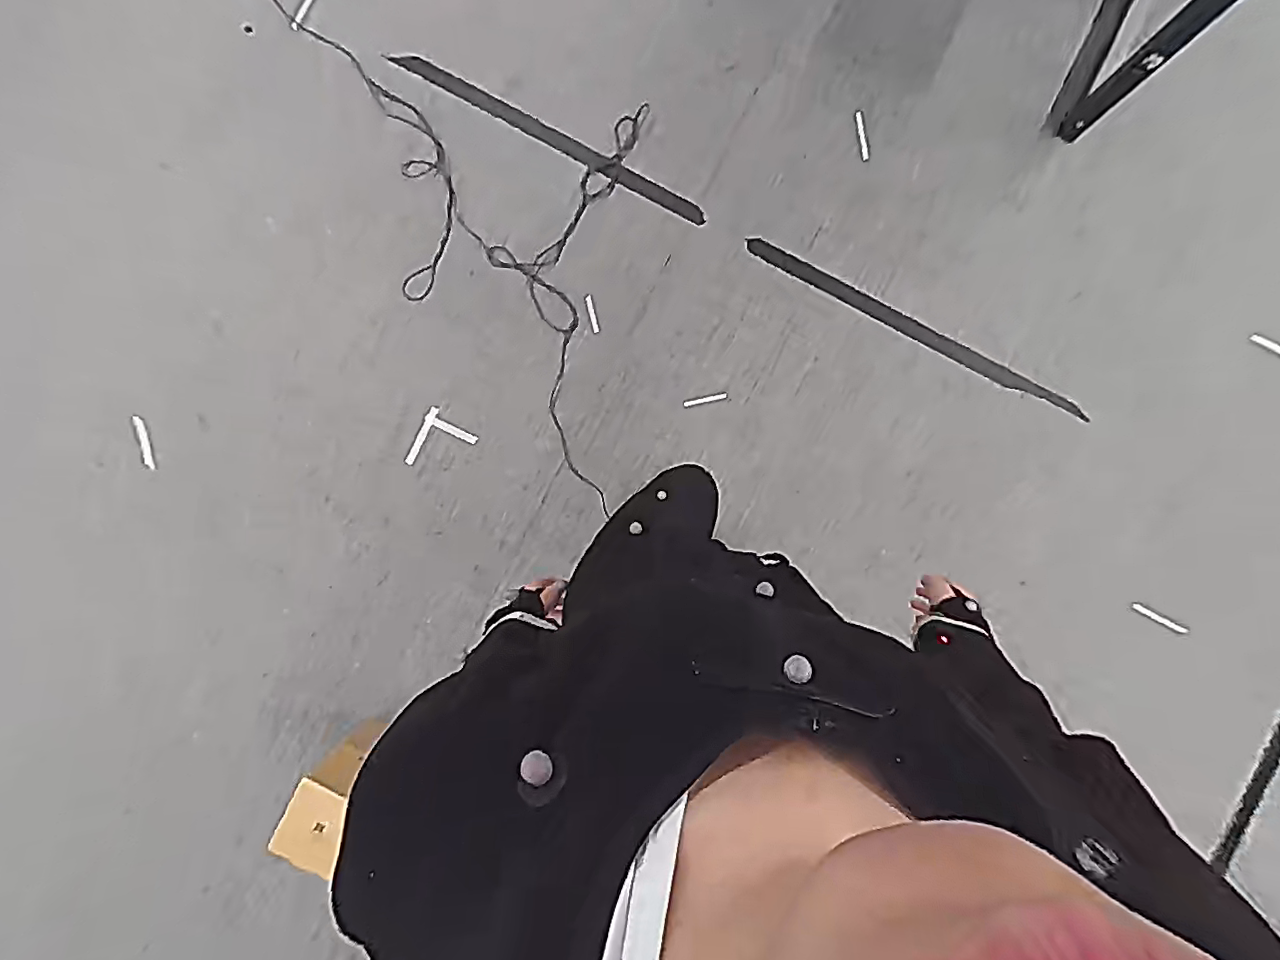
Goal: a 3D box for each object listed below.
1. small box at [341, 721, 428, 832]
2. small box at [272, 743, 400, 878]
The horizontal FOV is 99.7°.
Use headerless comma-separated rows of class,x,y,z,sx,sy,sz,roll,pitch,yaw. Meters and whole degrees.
small box,-0.695,0.763,1.413,0.179,0.176,0.168,28,89,1
small box,-0.688,0.750,1.251,0.168,0.176,0.179,26,90,2
